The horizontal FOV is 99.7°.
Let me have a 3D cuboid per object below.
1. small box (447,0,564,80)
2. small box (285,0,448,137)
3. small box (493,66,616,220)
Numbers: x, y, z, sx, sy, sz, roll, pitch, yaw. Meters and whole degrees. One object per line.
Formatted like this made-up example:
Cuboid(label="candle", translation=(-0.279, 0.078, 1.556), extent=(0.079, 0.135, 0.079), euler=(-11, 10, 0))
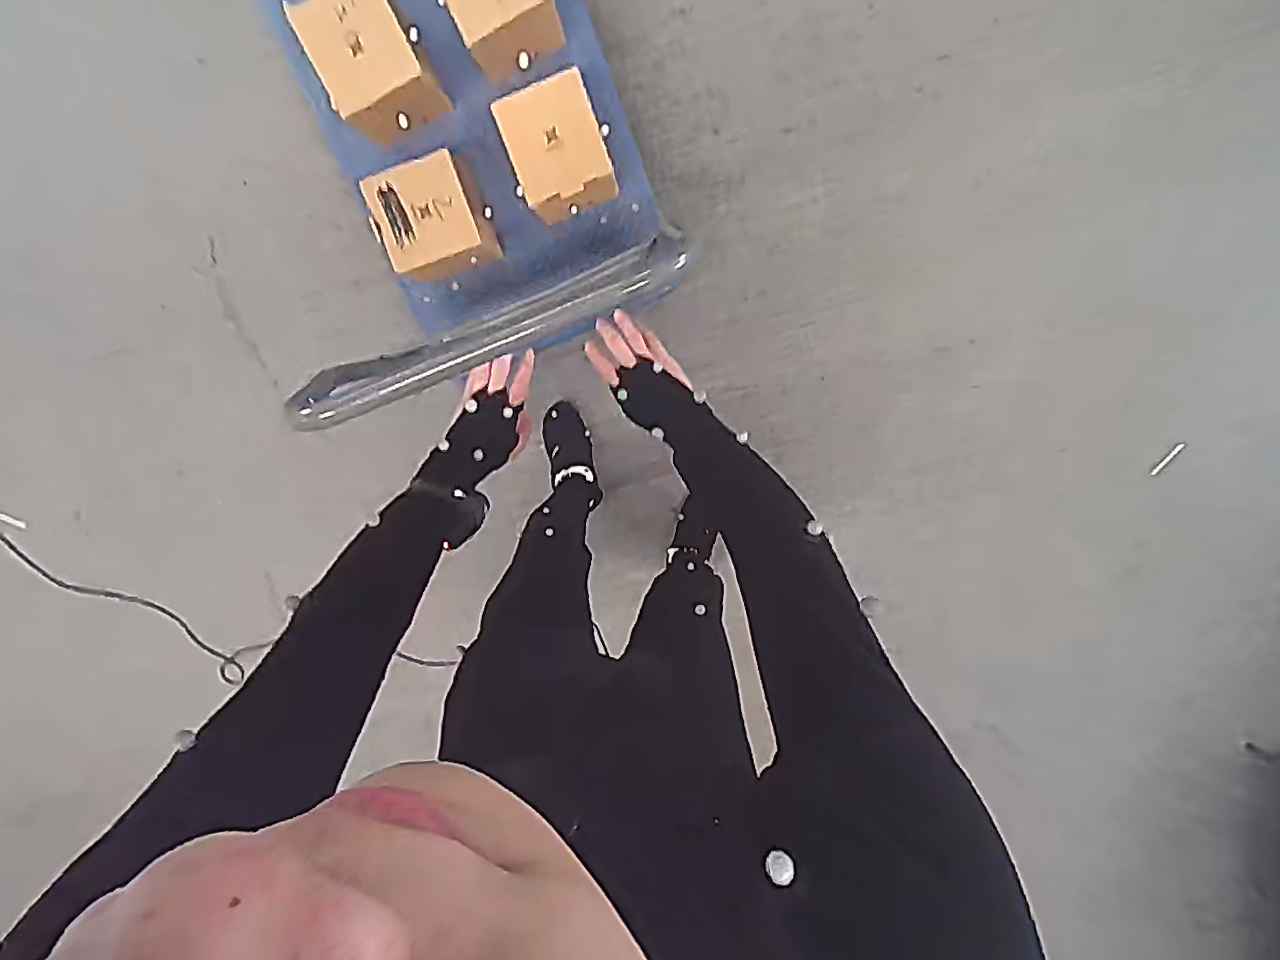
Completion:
Cuboid(label="small box", translation=(-0.251, -0.860, 0.949), extent=(0.168, 0.176, 0.179), euler=(-24, 105, 8))
Cuboid(label="small box", translation=(-0.479, -0.757, 0.980), extent=(0.168, 0.176, 0.179), euler=(-24, 104, 6))
Cuboid(label="small box", translation=(-0.152, -0.619, 1.018), extent=(0.168, 0.176, 0.179), euler=(-20, 105, 6))
